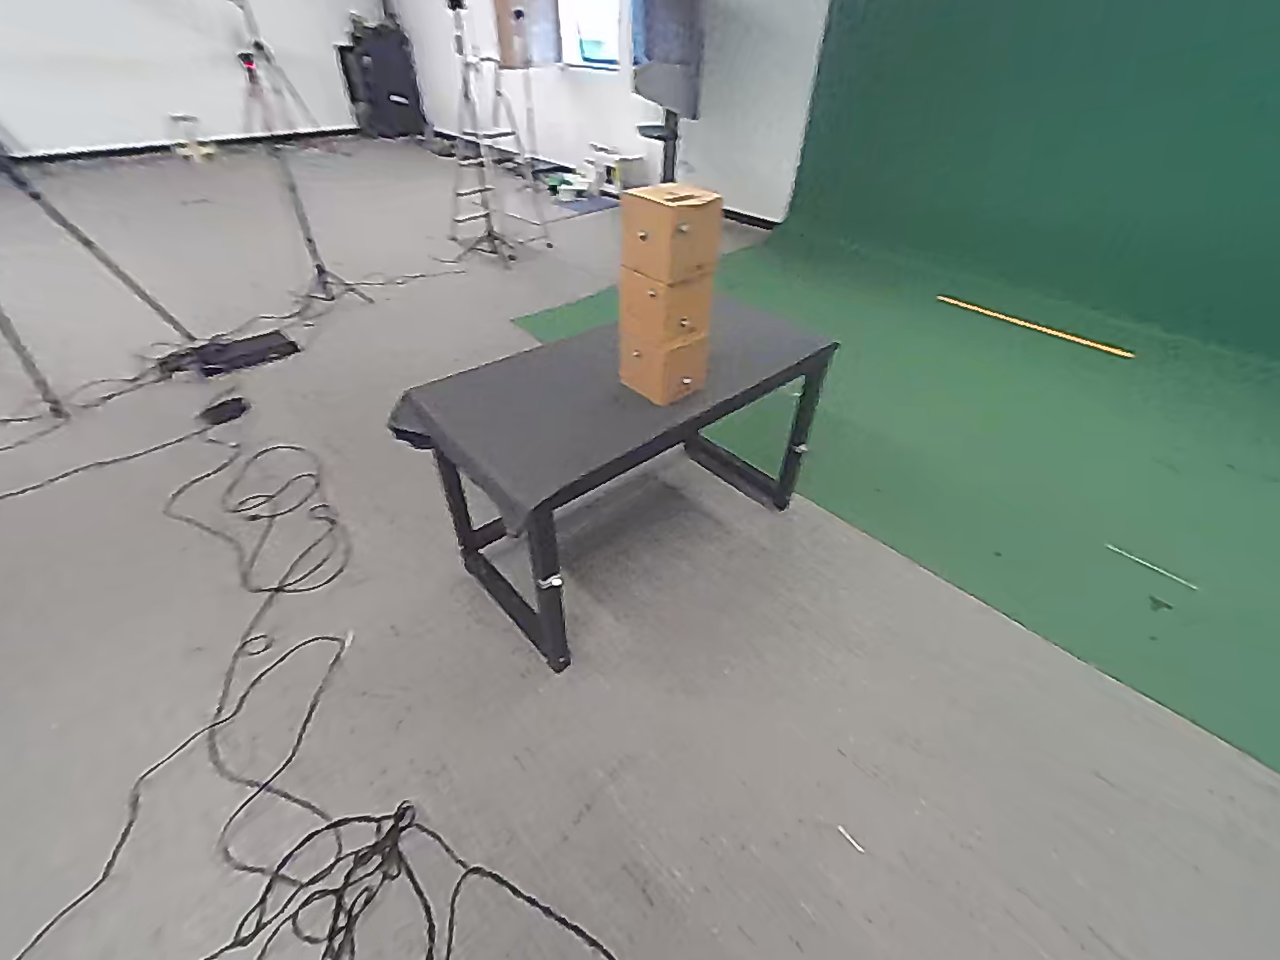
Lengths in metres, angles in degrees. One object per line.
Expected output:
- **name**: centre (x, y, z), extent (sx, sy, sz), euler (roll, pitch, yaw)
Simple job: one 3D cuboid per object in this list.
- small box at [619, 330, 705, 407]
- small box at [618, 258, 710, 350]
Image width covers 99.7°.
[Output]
- **small box**: centre (0.055, -0.325, 1.491), extent (0.168, 0.176, 0.179), euler (-29, 49, -31)
- **small box**: centre (0.055, -0.455, 1.394), extent (0.168, 0.176, 0.179), euler (-28, 48, -32)
